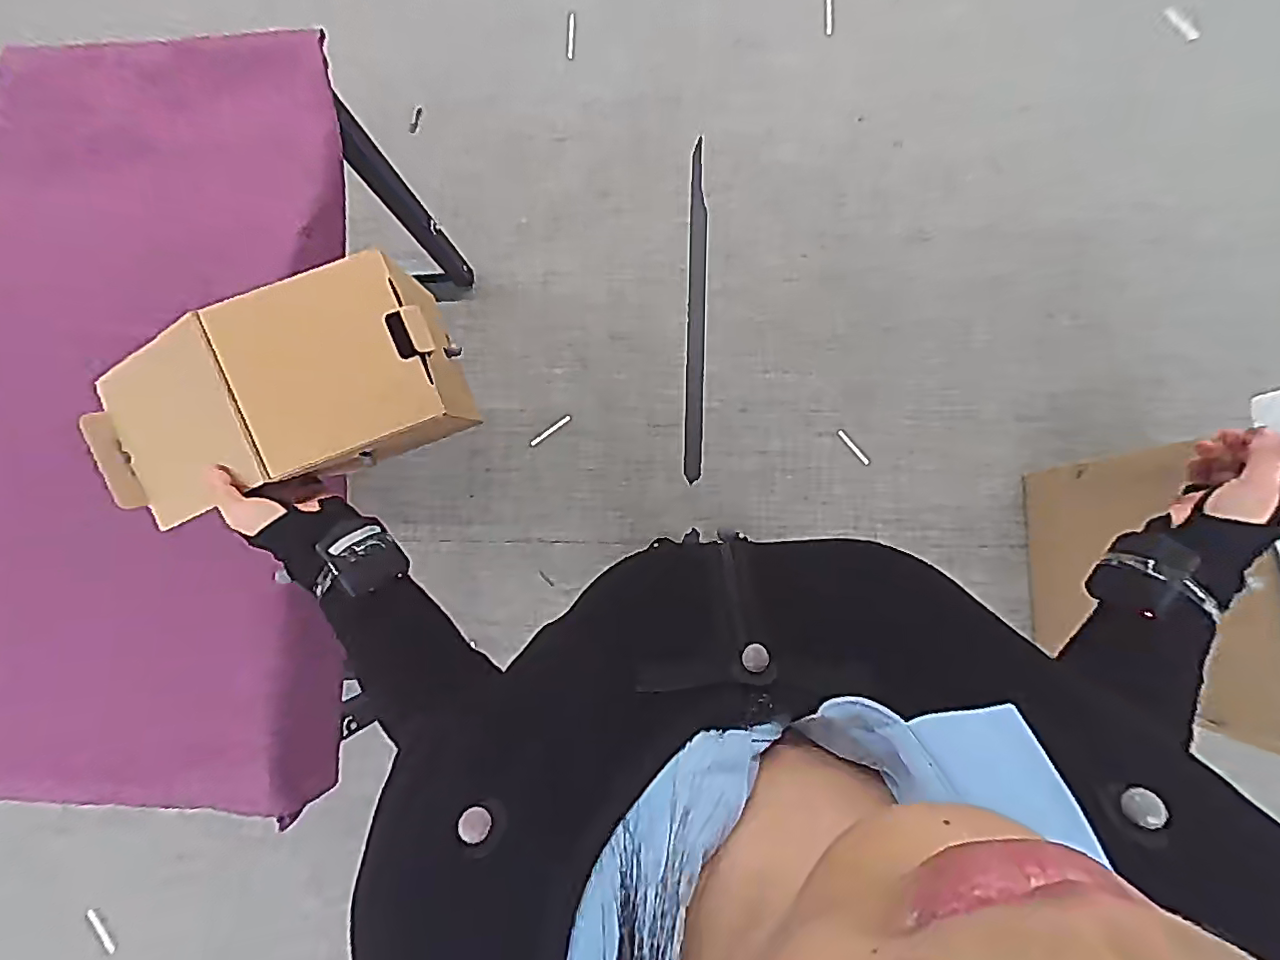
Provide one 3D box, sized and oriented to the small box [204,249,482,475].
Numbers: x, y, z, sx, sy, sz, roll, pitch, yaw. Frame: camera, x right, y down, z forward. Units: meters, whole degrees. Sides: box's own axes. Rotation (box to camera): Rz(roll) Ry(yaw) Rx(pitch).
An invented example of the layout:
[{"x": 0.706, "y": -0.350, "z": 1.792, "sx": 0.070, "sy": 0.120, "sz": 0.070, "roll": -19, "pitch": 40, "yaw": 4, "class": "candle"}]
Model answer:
[{"x": -0.294, "y": -0.112, "z": 0.579, "sx": 0.179, "sy": 0.176, "sz": 0.168, "roll": -21, "pitch": 95, "yaw": -2, "class": "small box"}]
